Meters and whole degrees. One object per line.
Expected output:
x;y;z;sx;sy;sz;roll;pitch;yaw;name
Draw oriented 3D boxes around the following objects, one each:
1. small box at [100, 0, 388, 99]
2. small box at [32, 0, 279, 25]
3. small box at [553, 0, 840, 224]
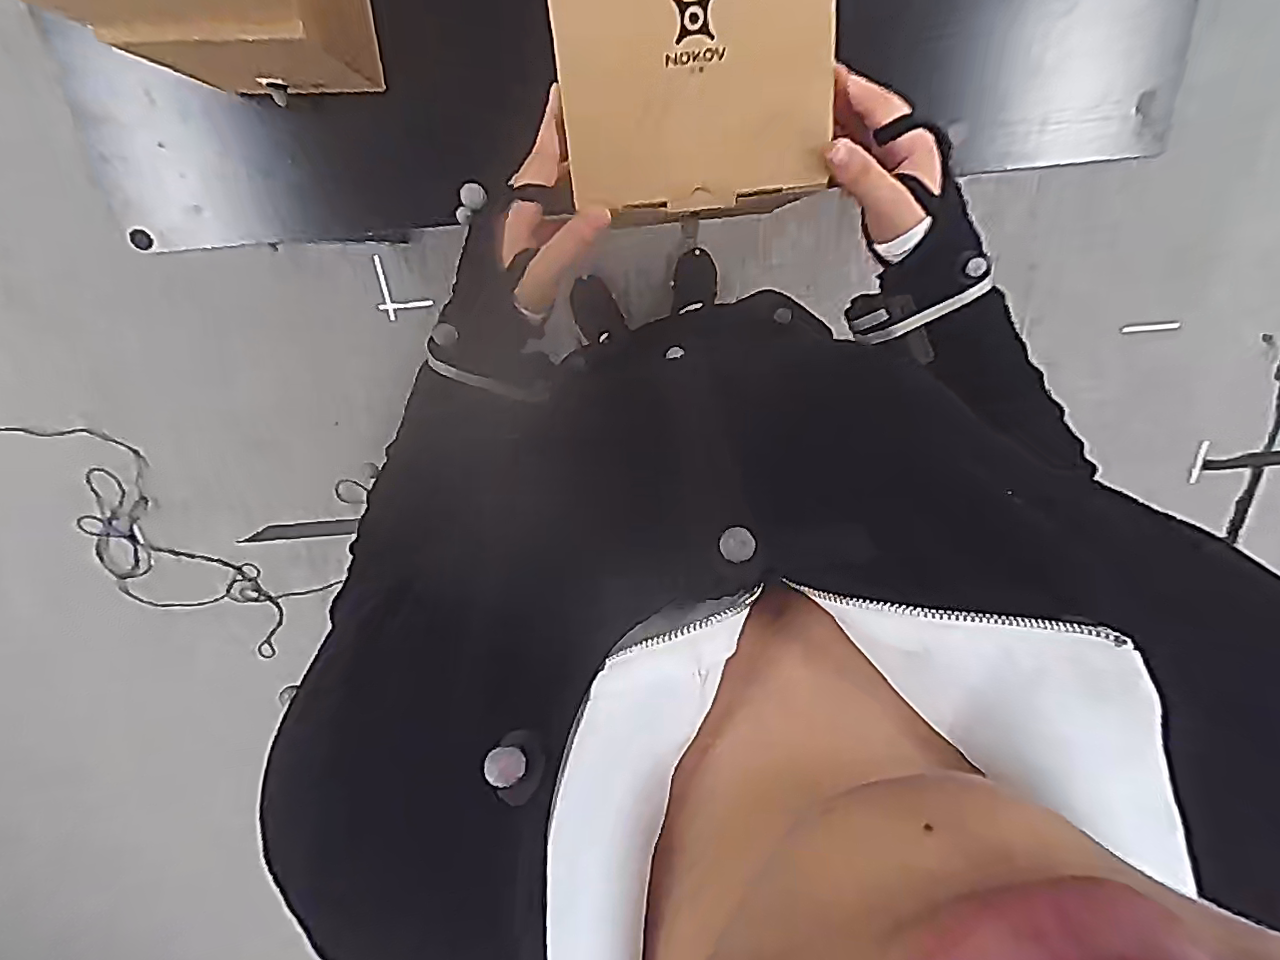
-0.347;-0.459;0.471;0.168;0.176;0.179;-3;114;-1;small box
-0.346;-0.400;0.317;0.179;0.176;0.168;-3;112;0;small box
0.036;-0.287;0.389;0.168;0.176;0.179;-5;112;3;small box
